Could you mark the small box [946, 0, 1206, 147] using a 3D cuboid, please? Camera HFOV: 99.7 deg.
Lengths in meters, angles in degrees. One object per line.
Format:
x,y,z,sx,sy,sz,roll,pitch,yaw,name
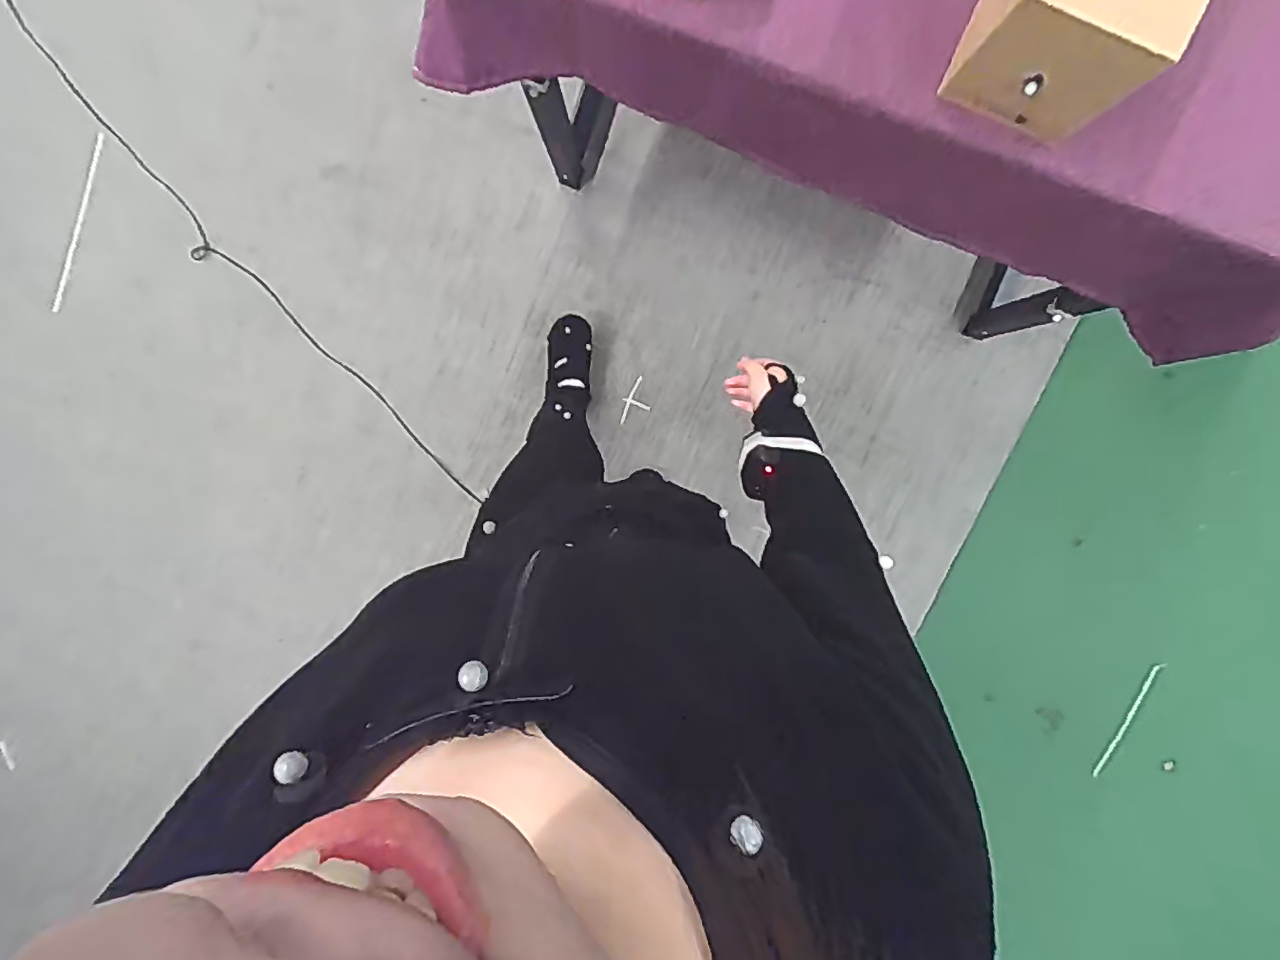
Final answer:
0.482,-0.518,0.603,0.168,0.176,0.179,23,96,-3,small box
